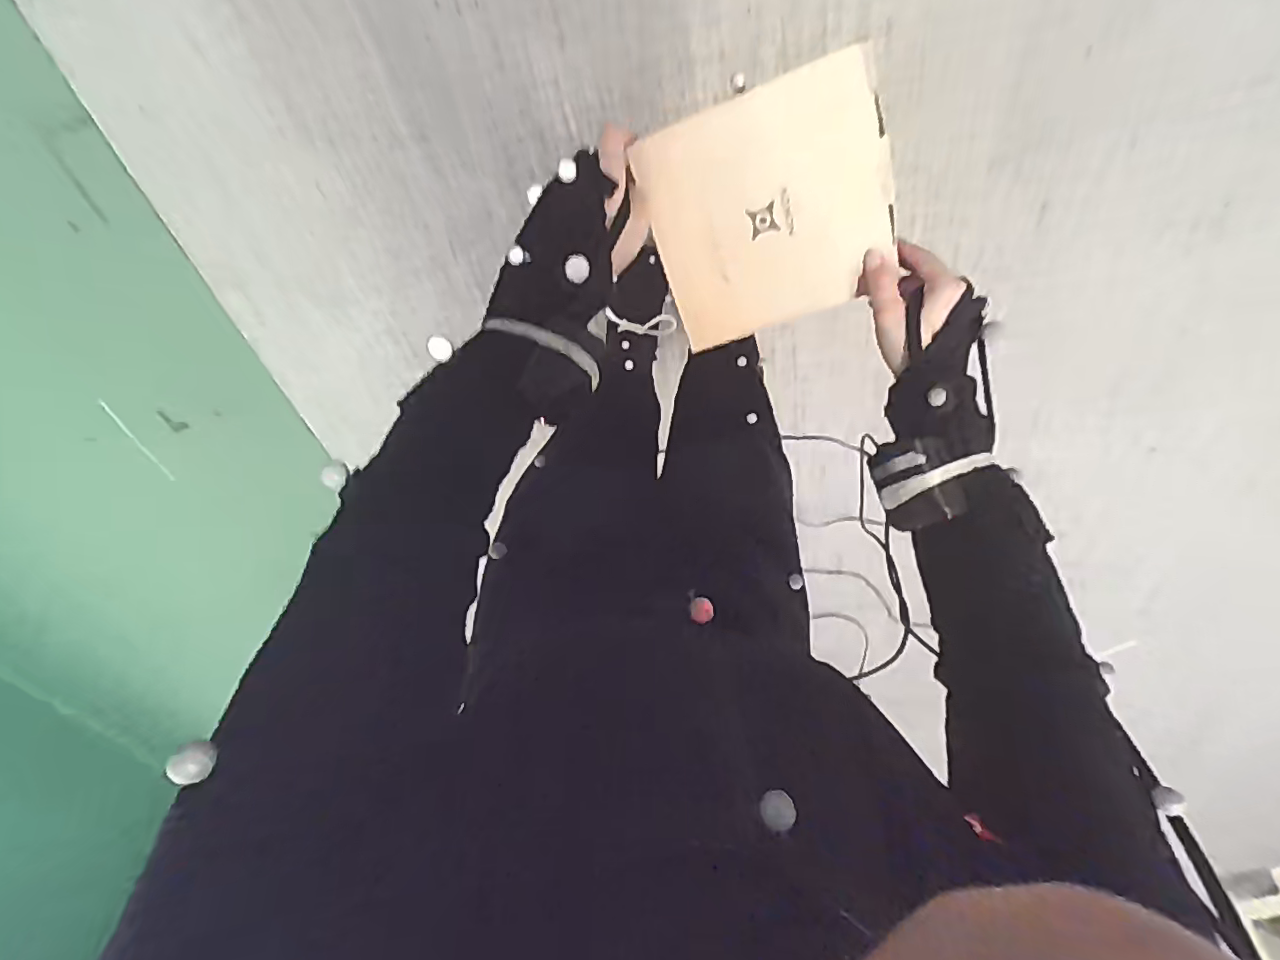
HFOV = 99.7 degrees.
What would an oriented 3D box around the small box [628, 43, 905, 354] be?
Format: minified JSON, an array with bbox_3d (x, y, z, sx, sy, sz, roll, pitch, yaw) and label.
[{"bbox_3d":[0.106,-0.239,0.476,0.179,0.176,0.168,-17,118,17],"label":"small box"}]
